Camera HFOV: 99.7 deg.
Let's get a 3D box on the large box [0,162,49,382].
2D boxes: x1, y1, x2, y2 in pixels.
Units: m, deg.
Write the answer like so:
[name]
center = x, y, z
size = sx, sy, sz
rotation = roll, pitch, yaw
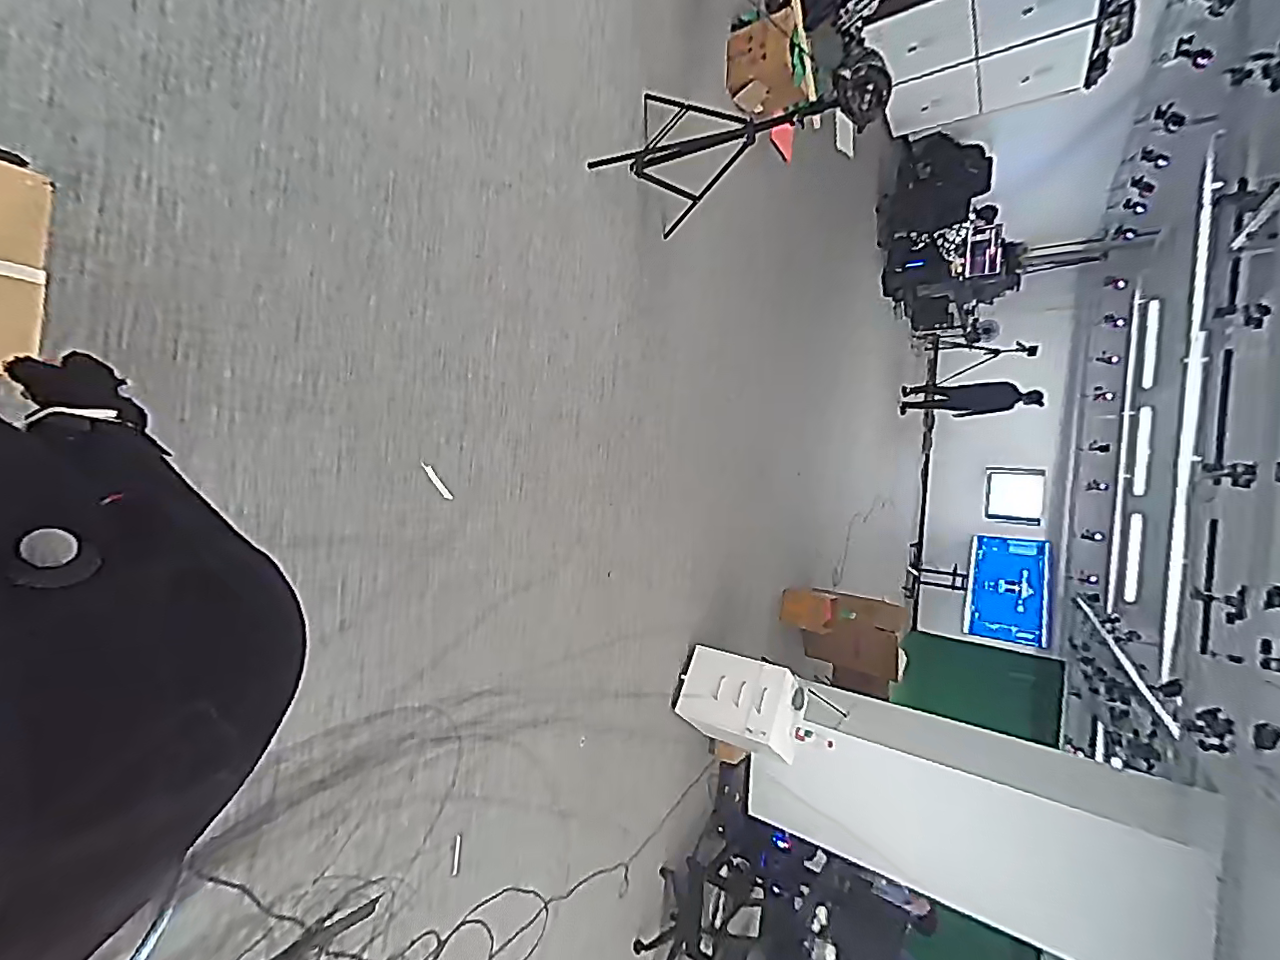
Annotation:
[large box]
center = -1.156, -0.328, 0.749
size = 0.408, 0.320, 0.320
rotation = 5, 90, -56
